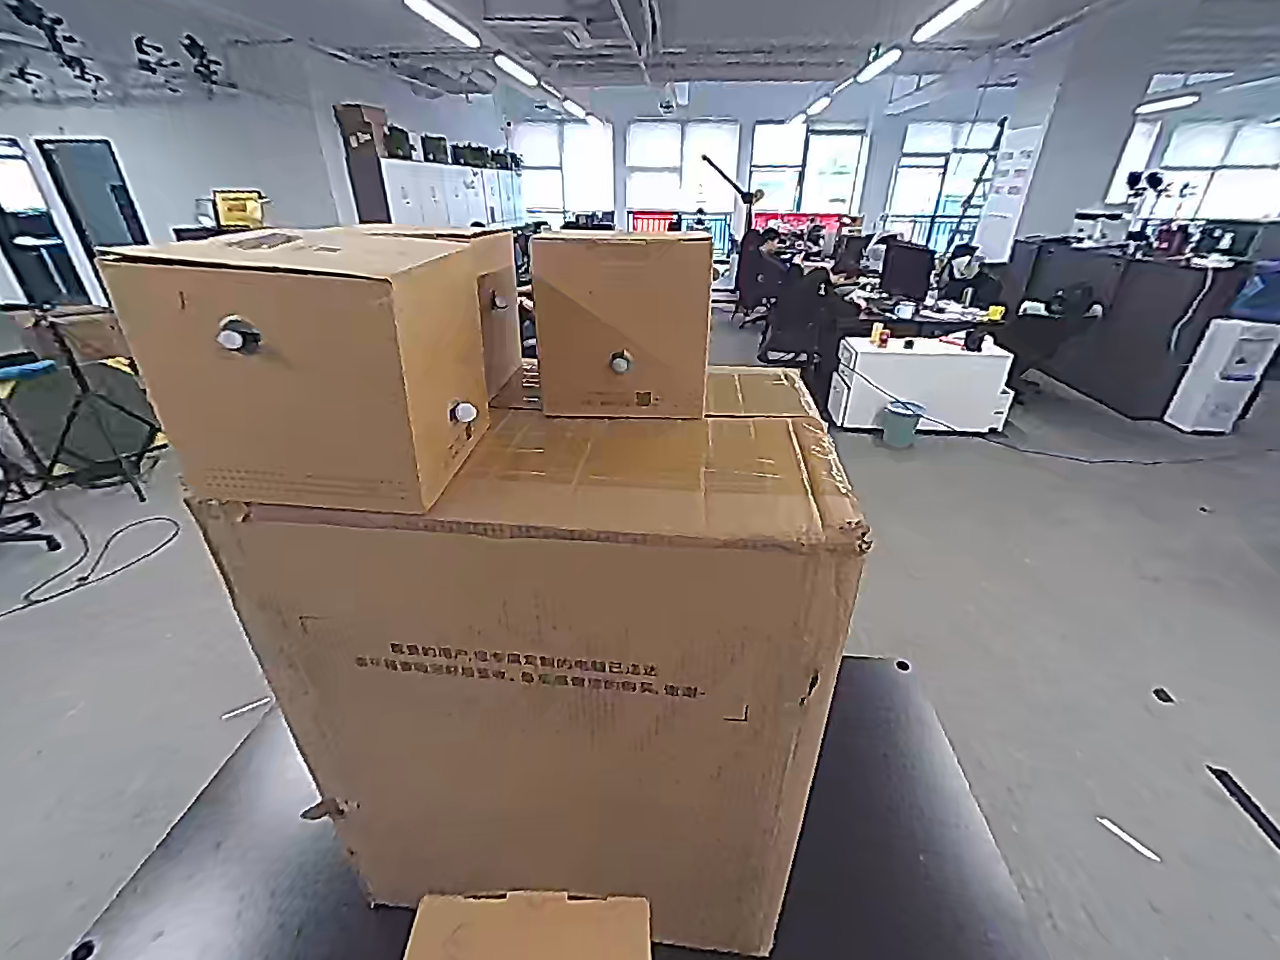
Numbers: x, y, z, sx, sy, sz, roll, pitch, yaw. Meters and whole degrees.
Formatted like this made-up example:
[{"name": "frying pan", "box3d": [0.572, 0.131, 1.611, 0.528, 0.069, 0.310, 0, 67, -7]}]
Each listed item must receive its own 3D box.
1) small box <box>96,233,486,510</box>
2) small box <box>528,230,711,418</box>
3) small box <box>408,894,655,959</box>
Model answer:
[{"name": "small box", "box3d": [-0.232, -0.090, 0.419, 0.179, 0.176, 0.168, 4, 29, 1]}, {"name": "small box", "box3d": [-0.014, -0.174, 0.582, 0.168, 0.176, 0.179, 1, 27, 3]}, {"name": "small box", "box3d": [-0.079, 0.411, 0.350, 0.168, 0.176, 0.179, 4, 29, -5]}]
